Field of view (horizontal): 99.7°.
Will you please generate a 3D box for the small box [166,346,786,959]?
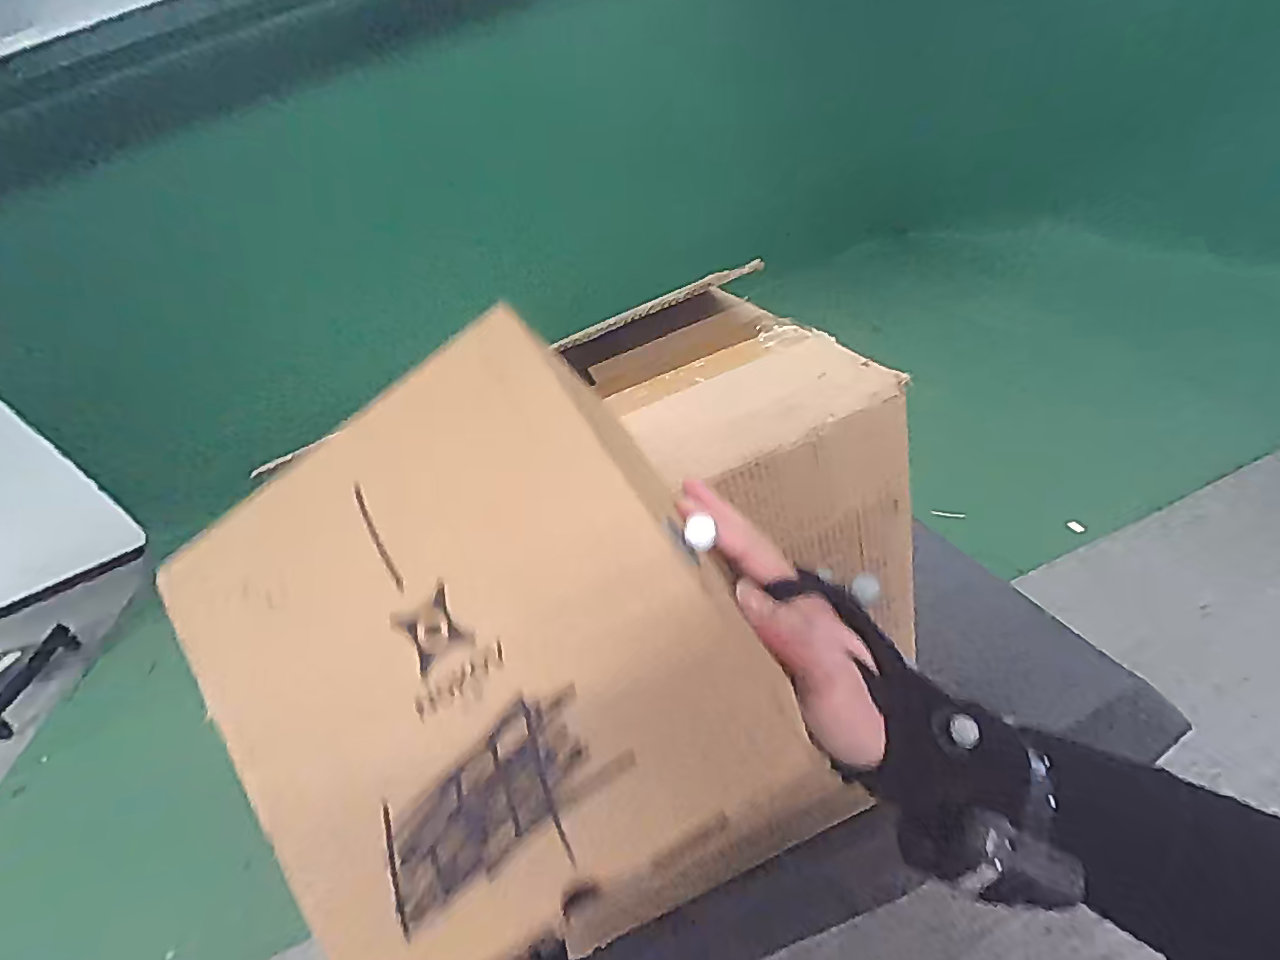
[{"bbox_3d":[-0.051,0.075,0.257,0.168,0.176,0.179,-36,77,5],"label":"small box"}]
